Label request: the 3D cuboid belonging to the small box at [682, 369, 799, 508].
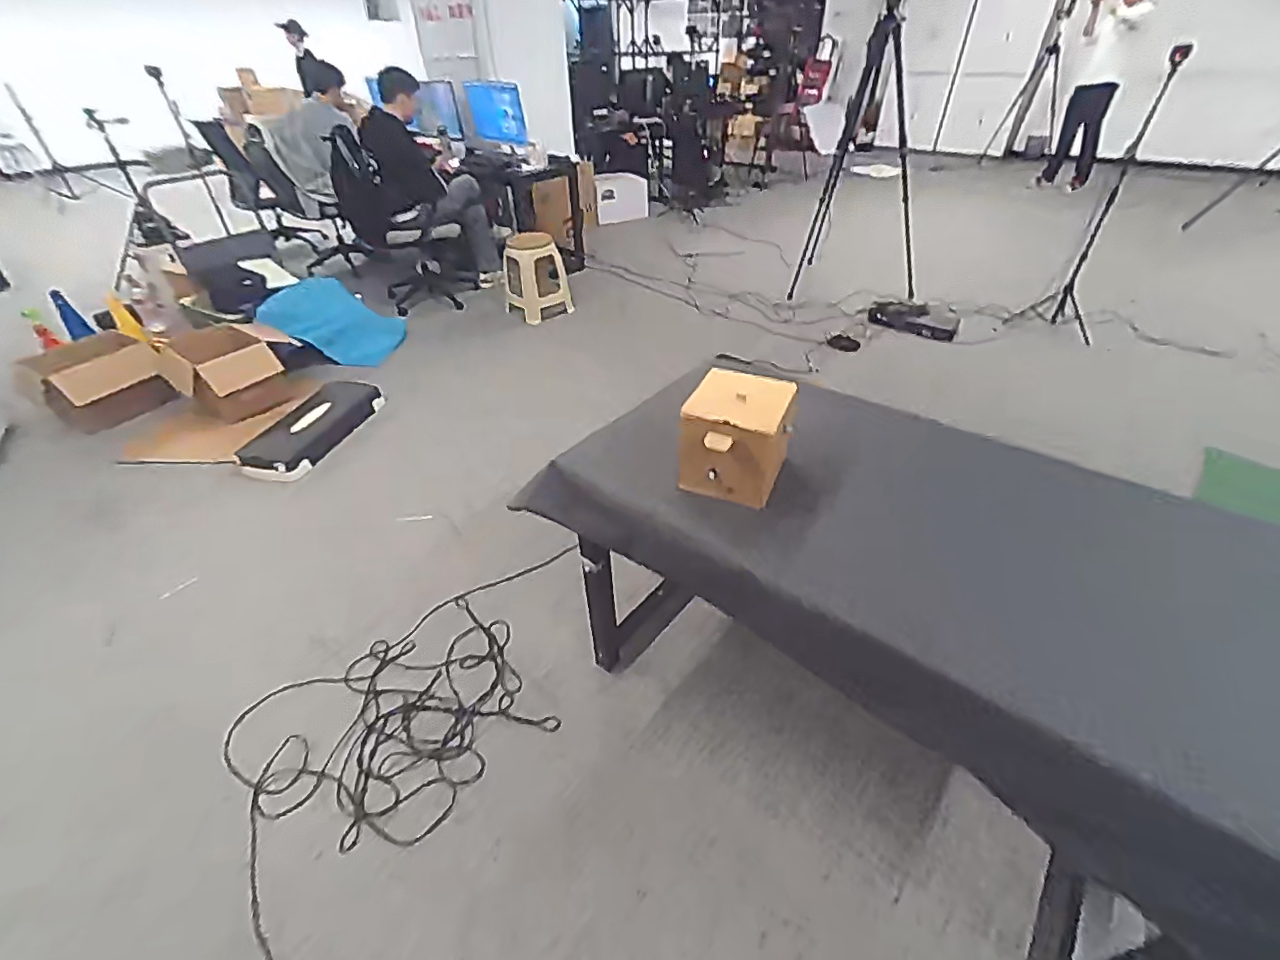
[{"bbox_3d":[0.180,-0.080,0.998,0.168,0.176,0.179,16,42,20],"label":"small box"}]
